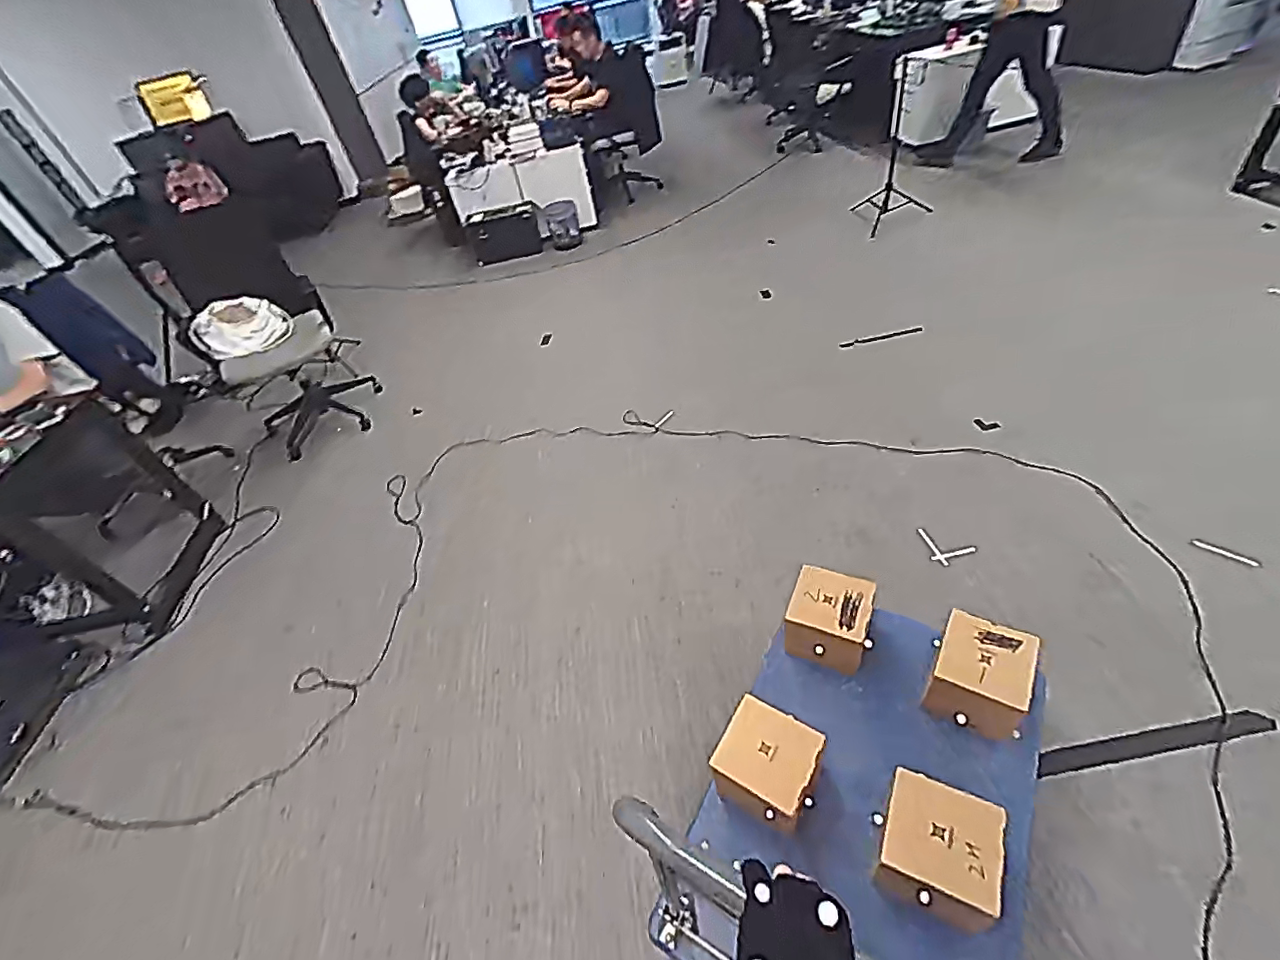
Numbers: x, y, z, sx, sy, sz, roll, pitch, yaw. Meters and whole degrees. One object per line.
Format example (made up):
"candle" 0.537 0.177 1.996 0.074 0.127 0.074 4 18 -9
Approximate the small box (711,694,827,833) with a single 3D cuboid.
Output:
"small box" 0.265 0.586 1.113 0.179 0.176 0.168 20 52 29

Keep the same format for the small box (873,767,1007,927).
"small box" 0.529 0.657 0.968 0.179 0.176 0.168 14 50 27

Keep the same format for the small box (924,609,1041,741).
"small box" 0.729 0.419 1.163 0.168 0.176 0.179 18 53 30
